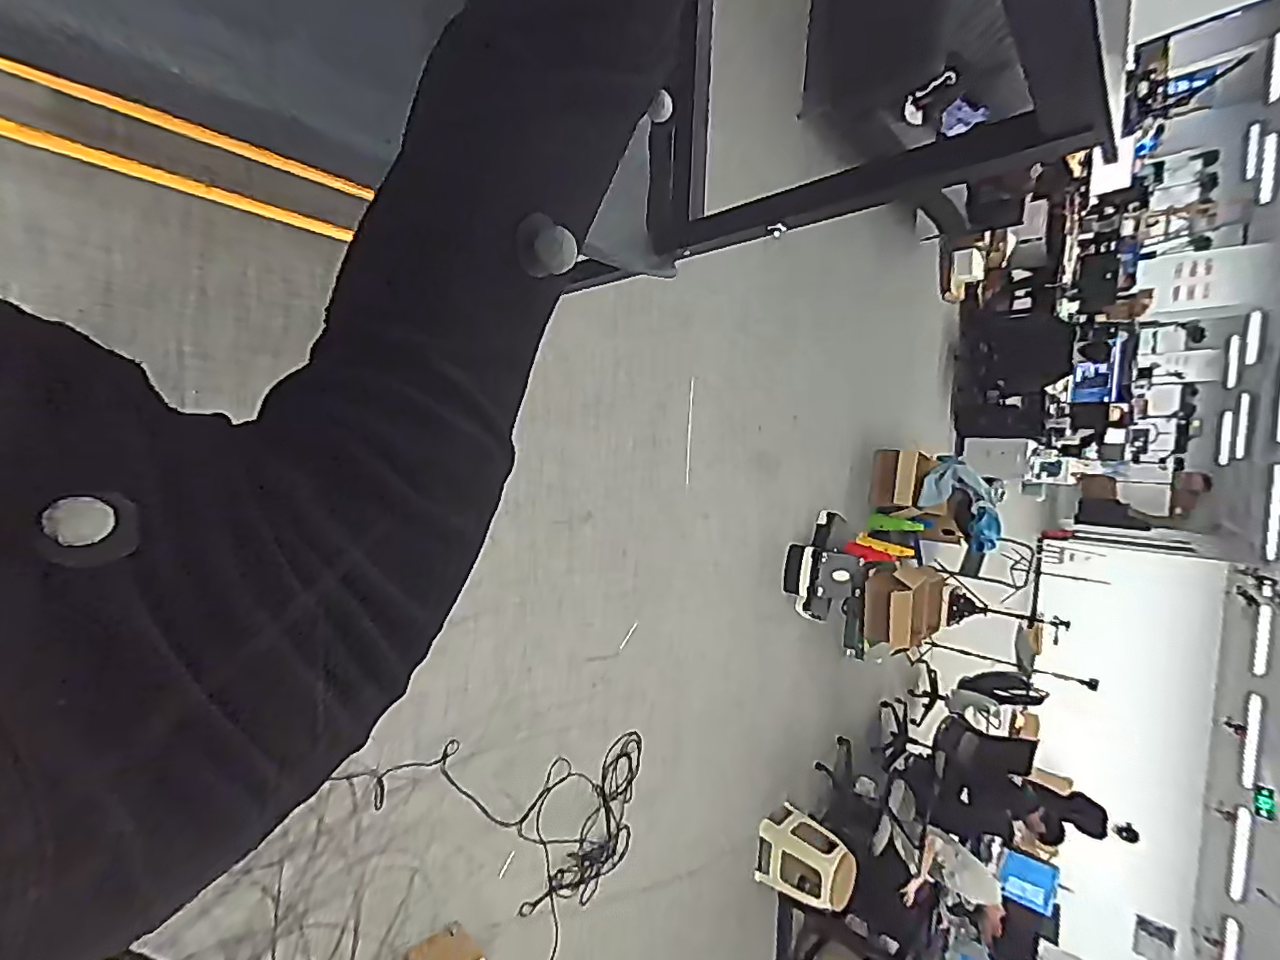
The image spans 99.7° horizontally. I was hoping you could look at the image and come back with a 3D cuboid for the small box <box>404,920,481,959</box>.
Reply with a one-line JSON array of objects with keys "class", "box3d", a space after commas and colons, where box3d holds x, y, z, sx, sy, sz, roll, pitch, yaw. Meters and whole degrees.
[{"class": "small box", "box3d": [-0.601, 1.484, 1.628, 0.168, 0.176, 0.179, 5, 91, -47]}]
